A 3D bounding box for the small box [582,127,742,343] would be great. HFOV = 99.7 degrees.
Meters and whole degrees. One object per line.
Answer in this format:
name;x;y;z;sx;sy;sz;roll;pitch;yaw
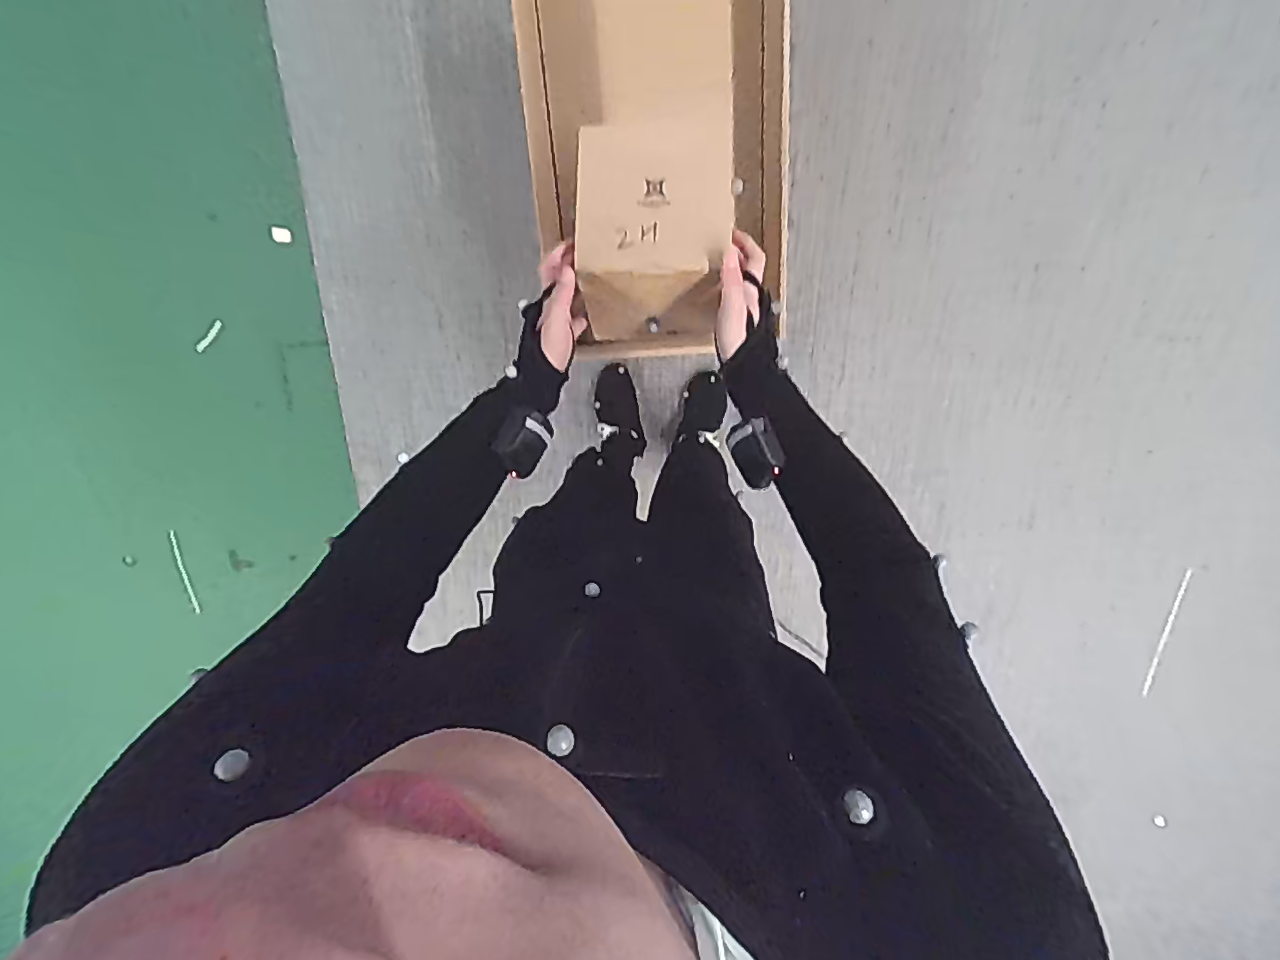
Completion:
small box;0.025;-0.279;0.643;0.168;0.176;0.179;0;81;2
